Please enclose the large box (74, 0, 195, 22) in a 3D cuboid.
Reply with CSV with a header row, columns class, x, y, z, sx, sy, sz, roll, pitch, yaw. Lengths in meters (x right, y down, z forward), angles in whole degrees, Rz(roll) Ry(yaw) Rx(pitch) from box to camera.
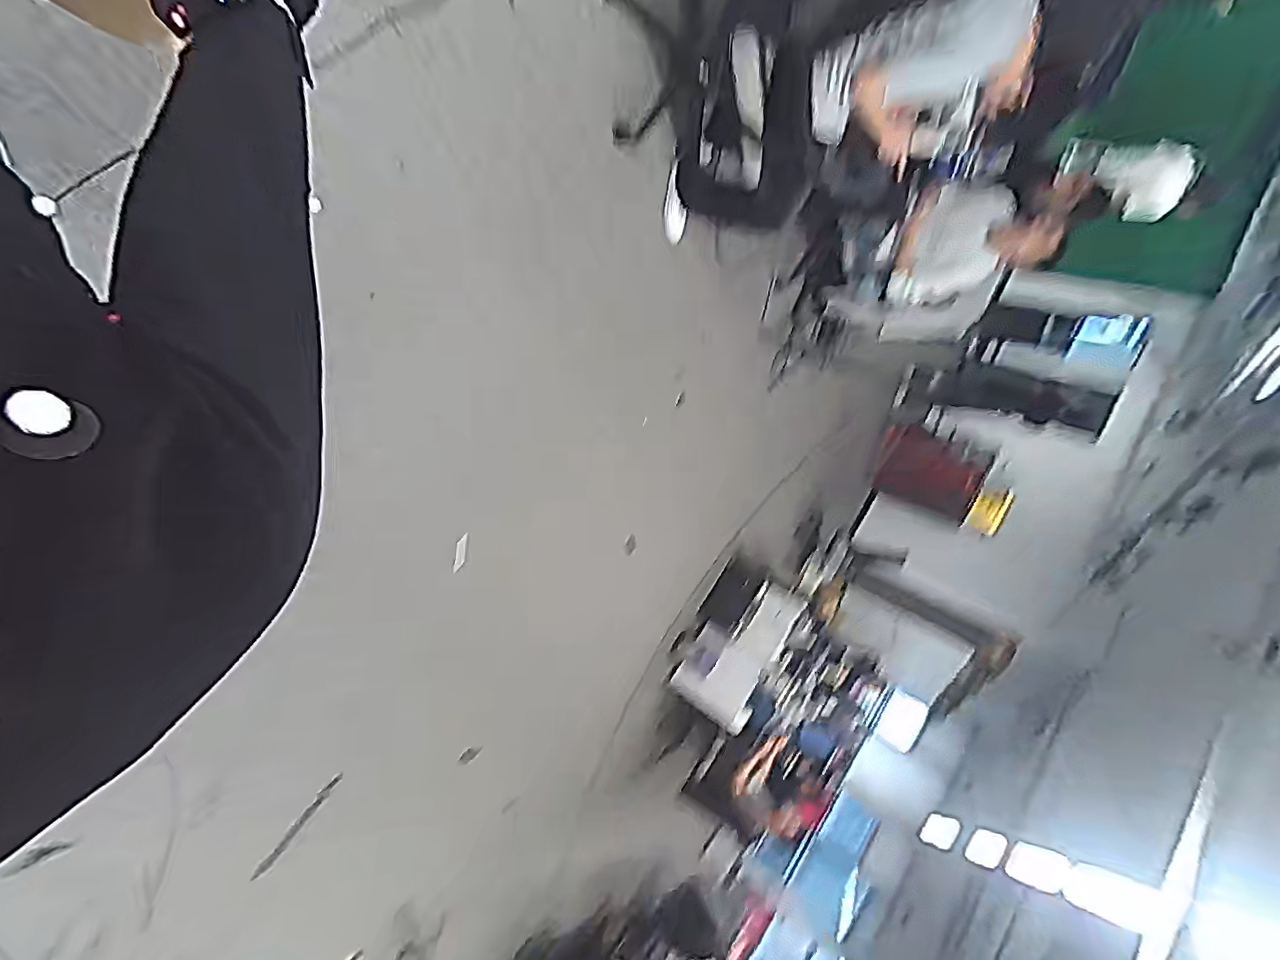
class,x,y,z,sx,sy,sz,roll,pitch,yaw
large box,-0.517,-0.586,0.324,0.408,0.320,0.320,7,106,-54
